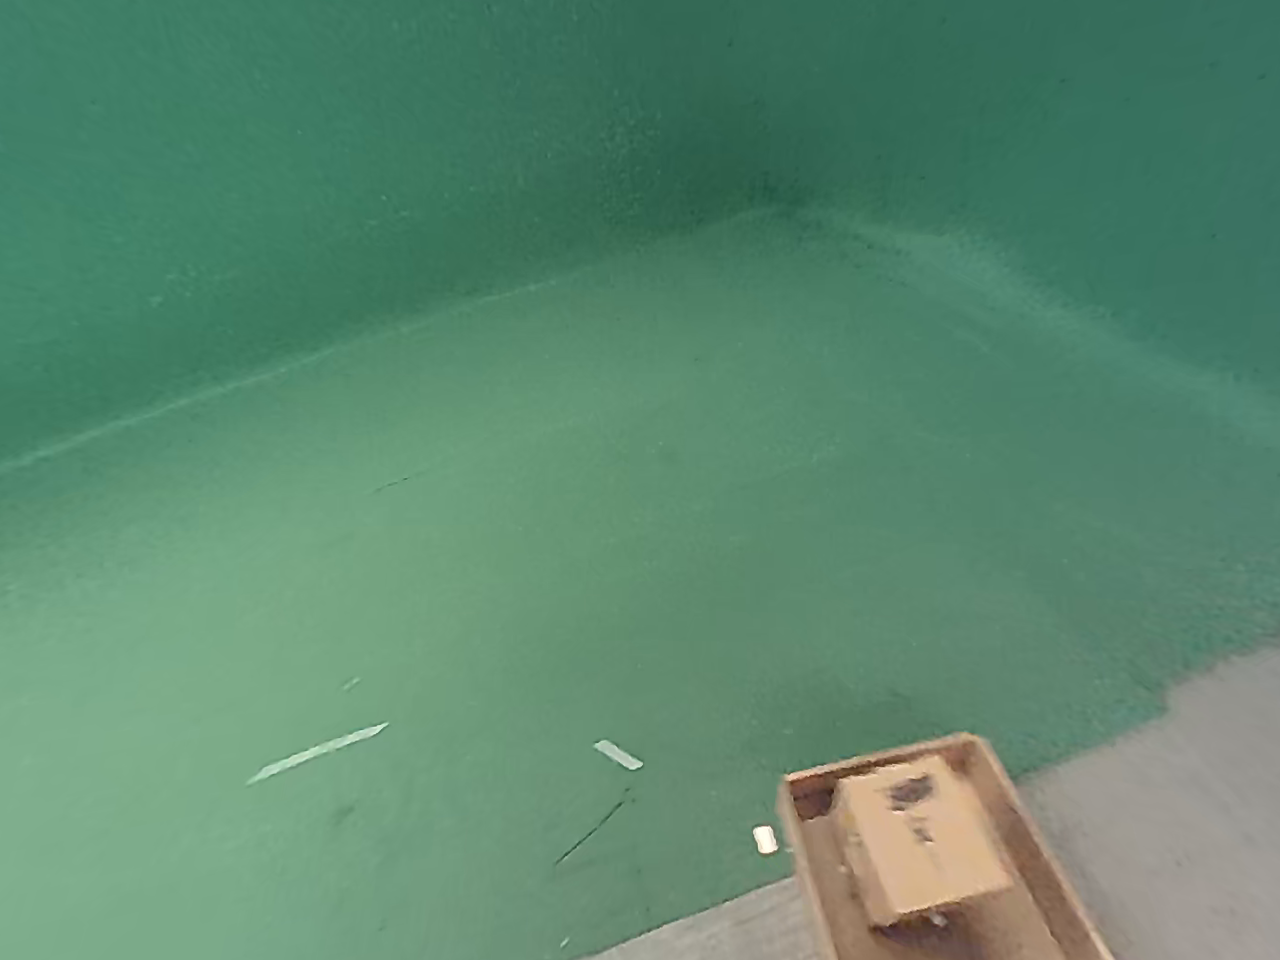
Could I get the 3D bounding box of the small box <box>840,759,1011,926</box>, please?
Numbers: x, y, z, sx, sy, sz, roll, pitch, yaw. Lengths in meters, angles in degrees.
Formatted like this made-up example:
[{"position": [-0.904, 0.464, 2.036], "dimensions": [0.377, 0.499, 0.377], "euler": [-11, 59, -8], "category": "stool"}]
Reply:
[{"position": [0.432, 0.575, 0.857], "dimensions": [0.168, 0.176, 0.179], "euler": [-15, 46, 1], "category": "small box"}]
